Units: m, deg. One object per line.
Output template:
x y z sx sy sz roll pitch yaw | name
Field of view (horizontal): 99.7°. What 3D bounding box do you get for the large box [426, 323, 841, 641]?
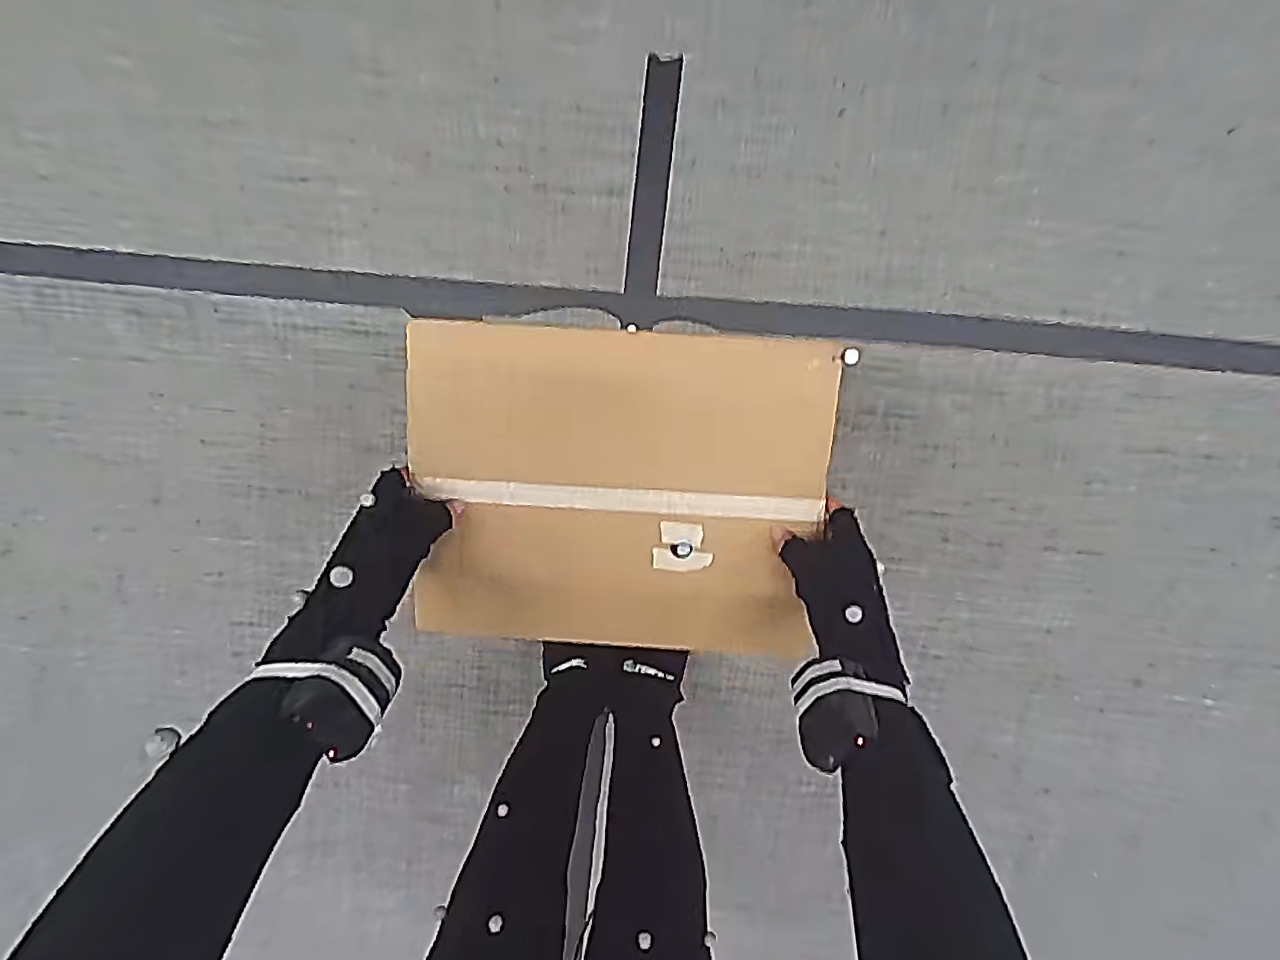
-0.012 -0.015 0.685 0.408 0.320 0.320 3 101 0 | large box
